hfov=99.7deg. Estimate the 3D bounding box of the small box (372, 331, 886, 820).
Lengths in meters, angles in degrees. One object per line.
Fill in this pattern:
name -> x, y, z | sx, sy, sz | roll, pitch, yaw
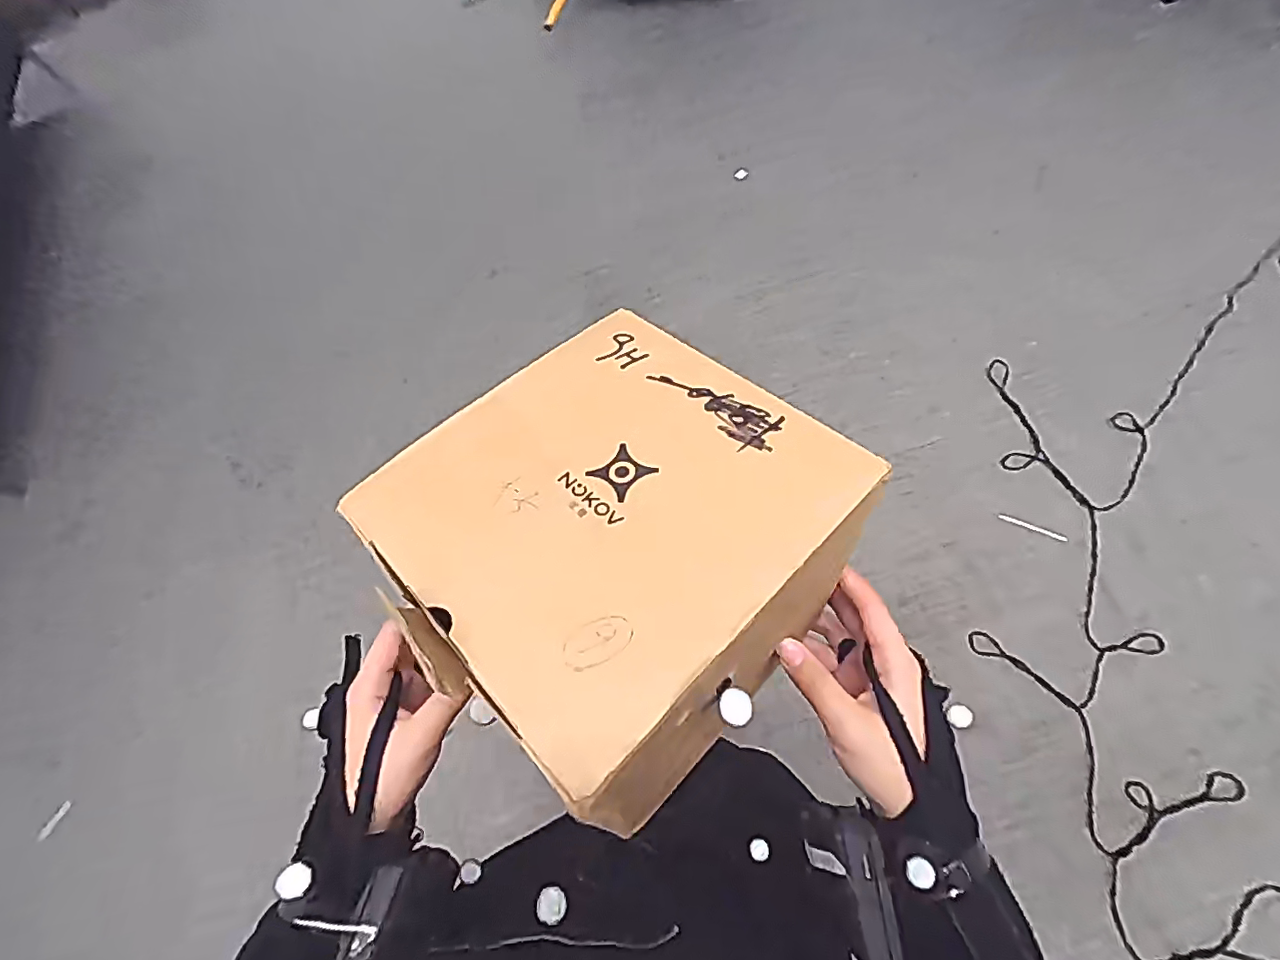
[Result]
small box -> -0.001, 0.057, 0.305 | 0.179, 0.176, 0.168 | -40, 61, -21
